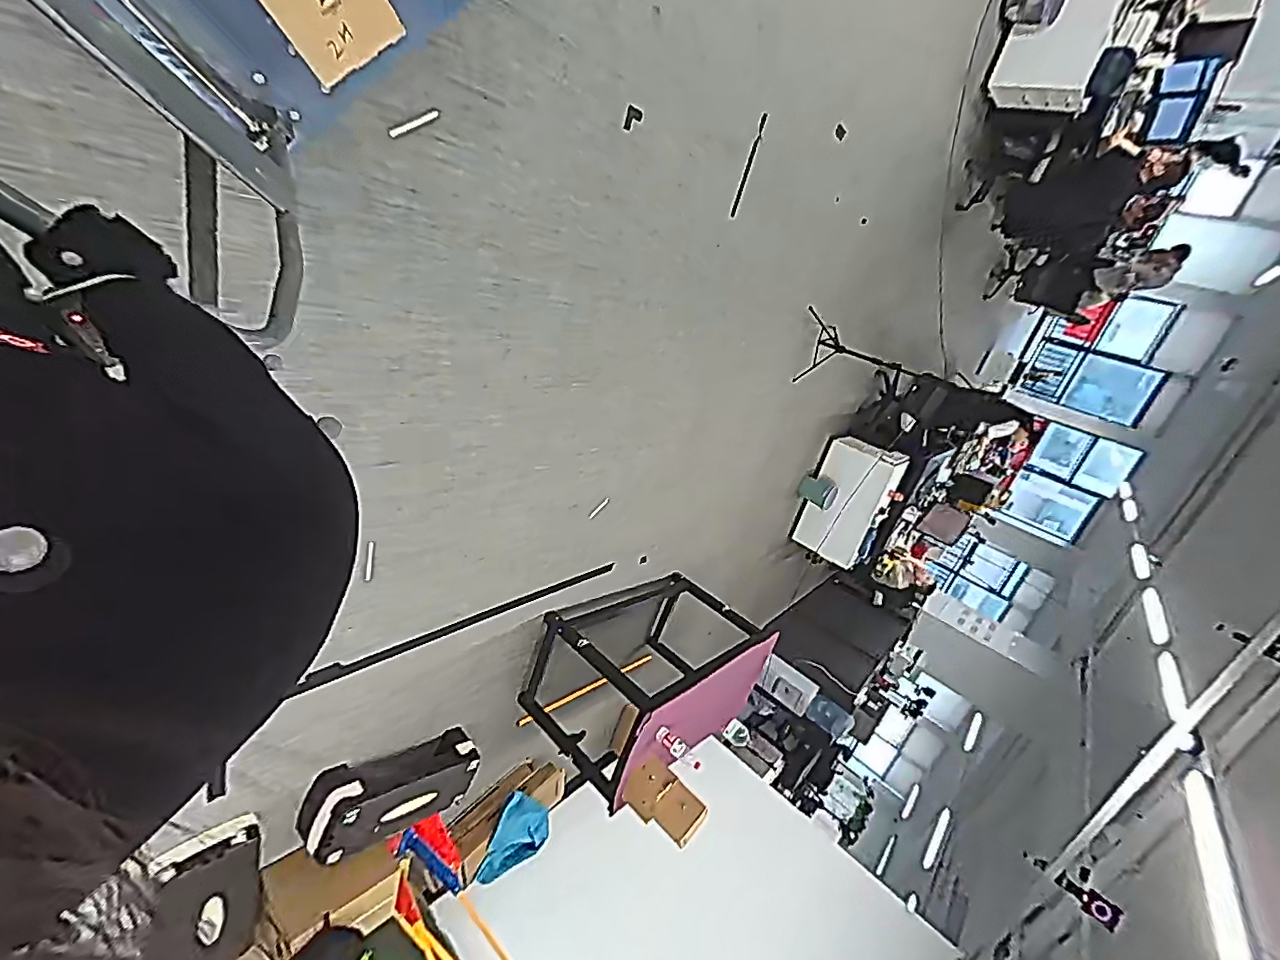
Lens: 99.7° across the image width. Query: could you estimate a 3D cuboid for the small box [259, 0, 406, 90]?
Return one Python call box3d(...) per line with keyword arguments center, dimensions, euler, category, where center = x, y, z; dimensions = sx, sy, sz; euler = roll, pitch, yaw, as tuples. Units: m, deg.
box3d(center=(-0.515, -0.783, 0.869), dimensions=(0.168, 0.176, 0.179), euler=(-33, 146, 1), category="small box")
